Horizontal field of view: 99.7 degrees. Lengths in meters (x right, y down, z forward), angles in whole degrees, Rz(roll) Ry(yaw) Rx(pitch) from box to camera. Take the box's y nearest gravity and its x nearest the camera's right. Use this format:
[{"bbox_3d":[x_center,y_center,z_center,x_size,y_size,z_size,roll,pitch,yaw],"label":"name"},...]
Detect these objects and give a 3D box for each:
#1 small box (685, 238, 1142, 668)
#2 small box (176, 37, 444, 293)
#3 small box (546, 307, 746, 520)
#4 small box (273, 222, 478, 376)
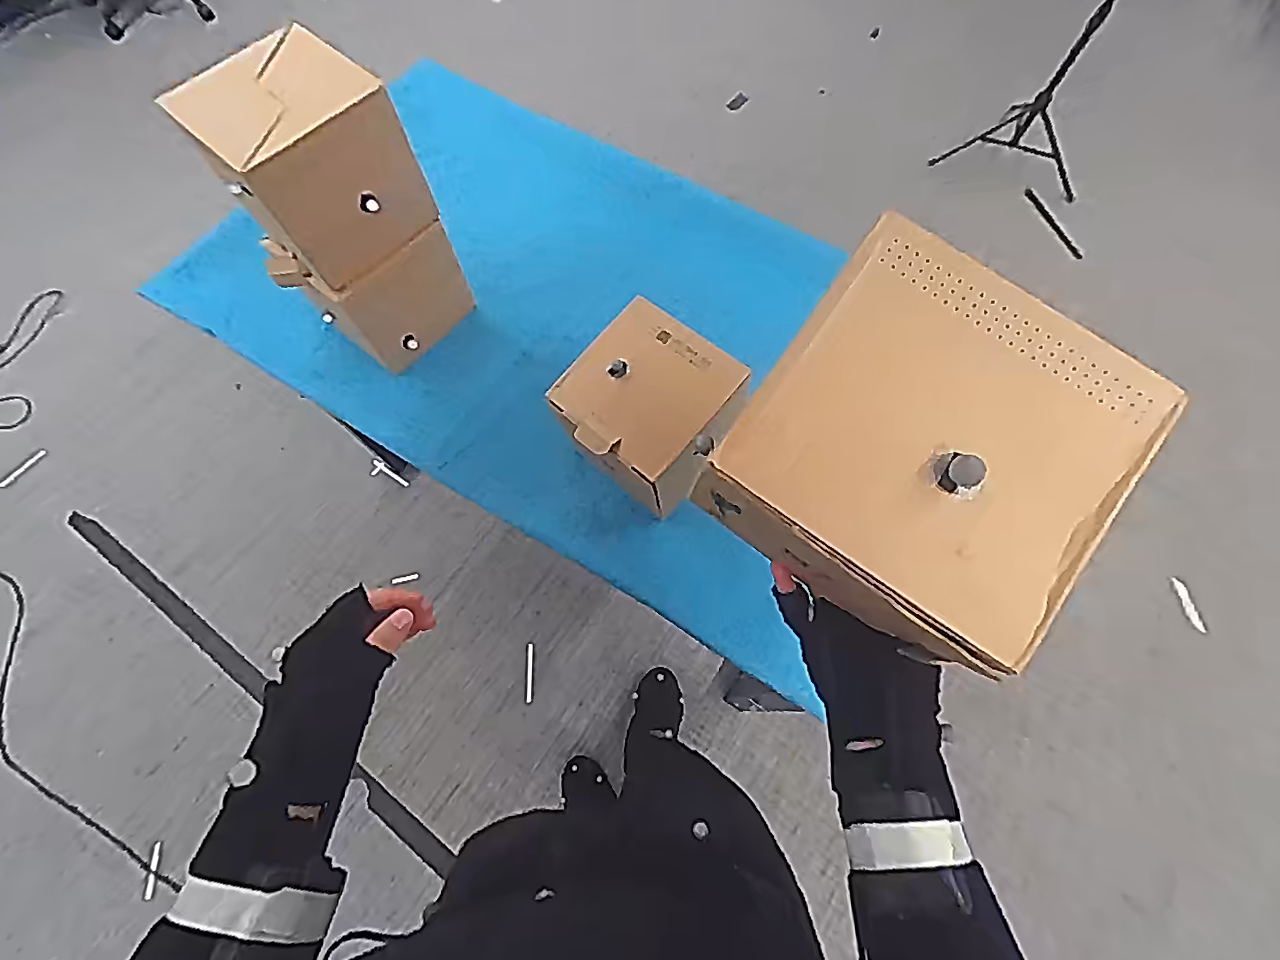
[{"bbox_3d":[0.151,-0.015,0.351,0.179,0.168,0.176,35,84,5],"label":"small box"},{"bbox_3d":[-0.377,-0.369,0.639,0.168,0.176,0.179,40,75,15],"label":"small box"},{"bbox_3d":[0.015,-0.080,0.679,0.168,0.179,0.176,40,81,15],"label":"small box"},{"bbox_3d":[-0.376,-0.293,0.786,0.168,0.176,0.179,36,73,14],"label":"small box"}]
